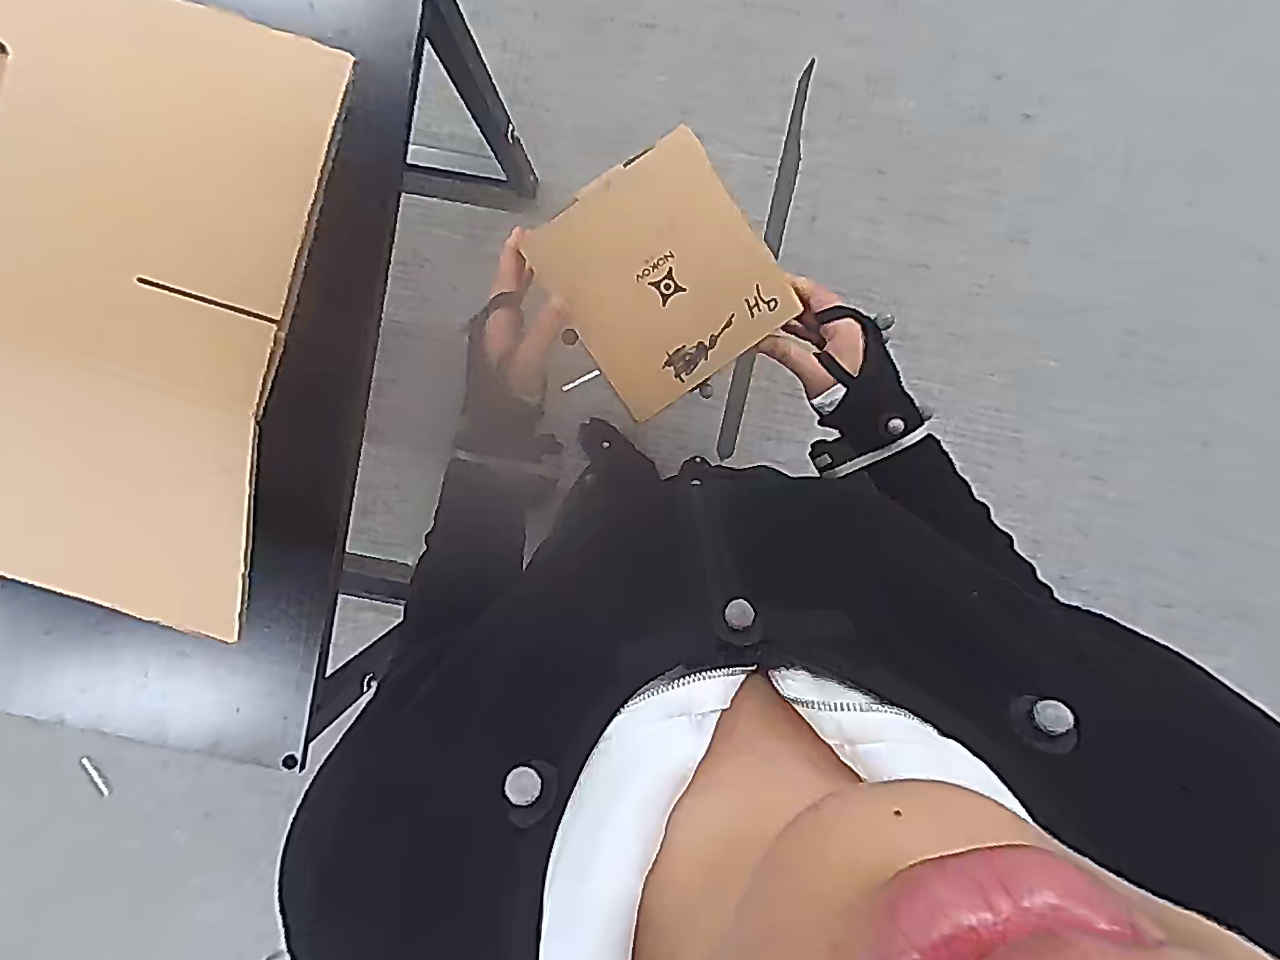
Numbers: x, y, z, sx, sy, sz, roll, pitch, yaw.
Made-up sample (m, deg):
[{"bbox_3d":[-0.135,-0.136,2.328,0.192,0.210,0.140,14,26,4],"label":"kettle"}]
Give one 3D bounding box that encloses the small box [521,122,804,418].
[{"bbox_3d":[0.016,-0.171,0.508,0.168,0.176,0.179,-35,95,2],"label":"small box"}]
